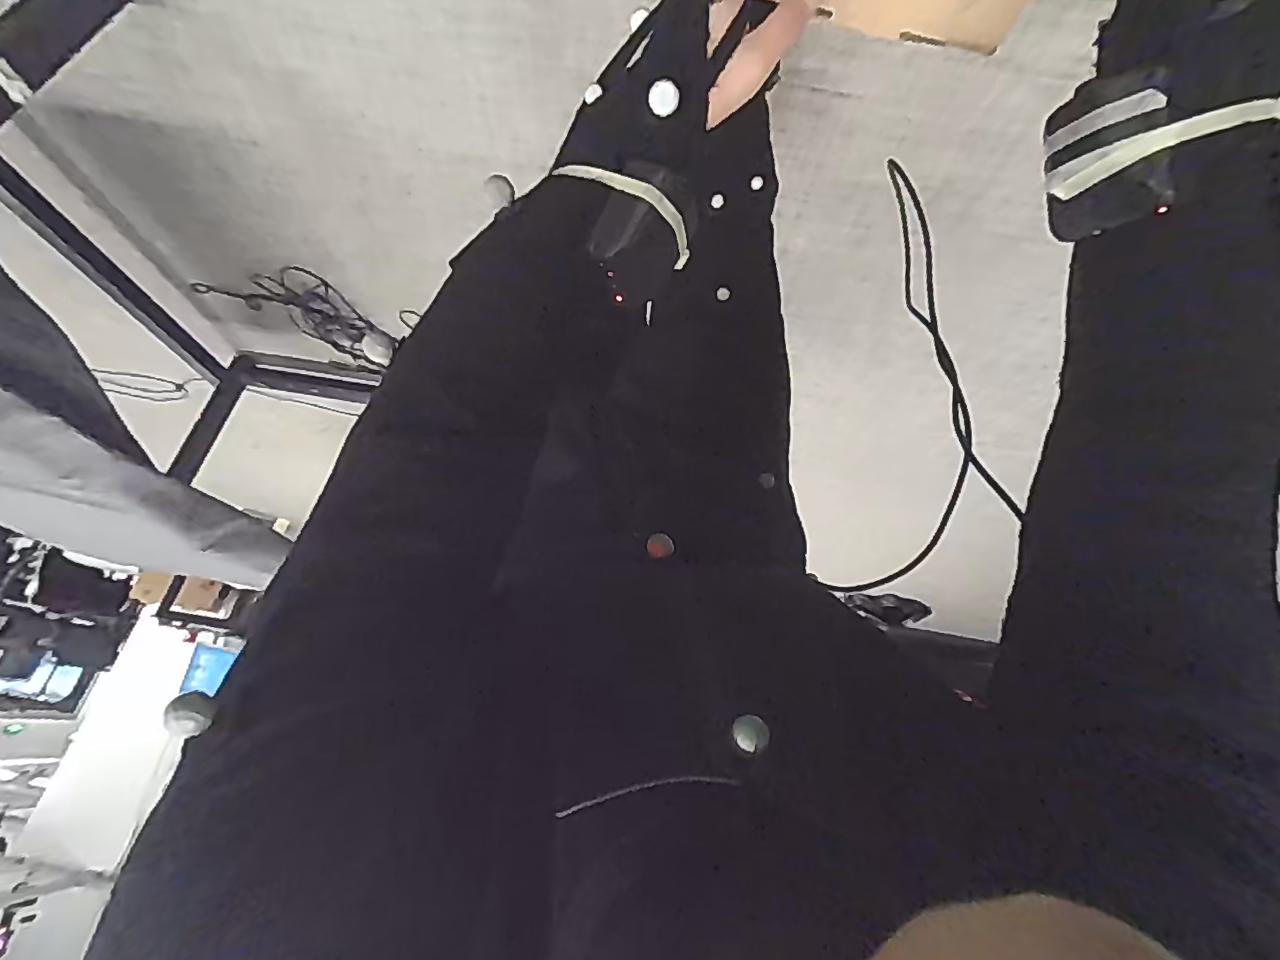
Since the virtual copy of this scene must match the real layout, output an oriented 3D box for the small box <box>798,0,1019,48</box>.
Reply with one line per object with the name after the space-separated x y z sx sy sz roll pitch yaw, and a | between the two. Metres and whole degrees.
0.159 -0.385 0.281 0.168 0.176 0.179 12 155 -3 | small box
